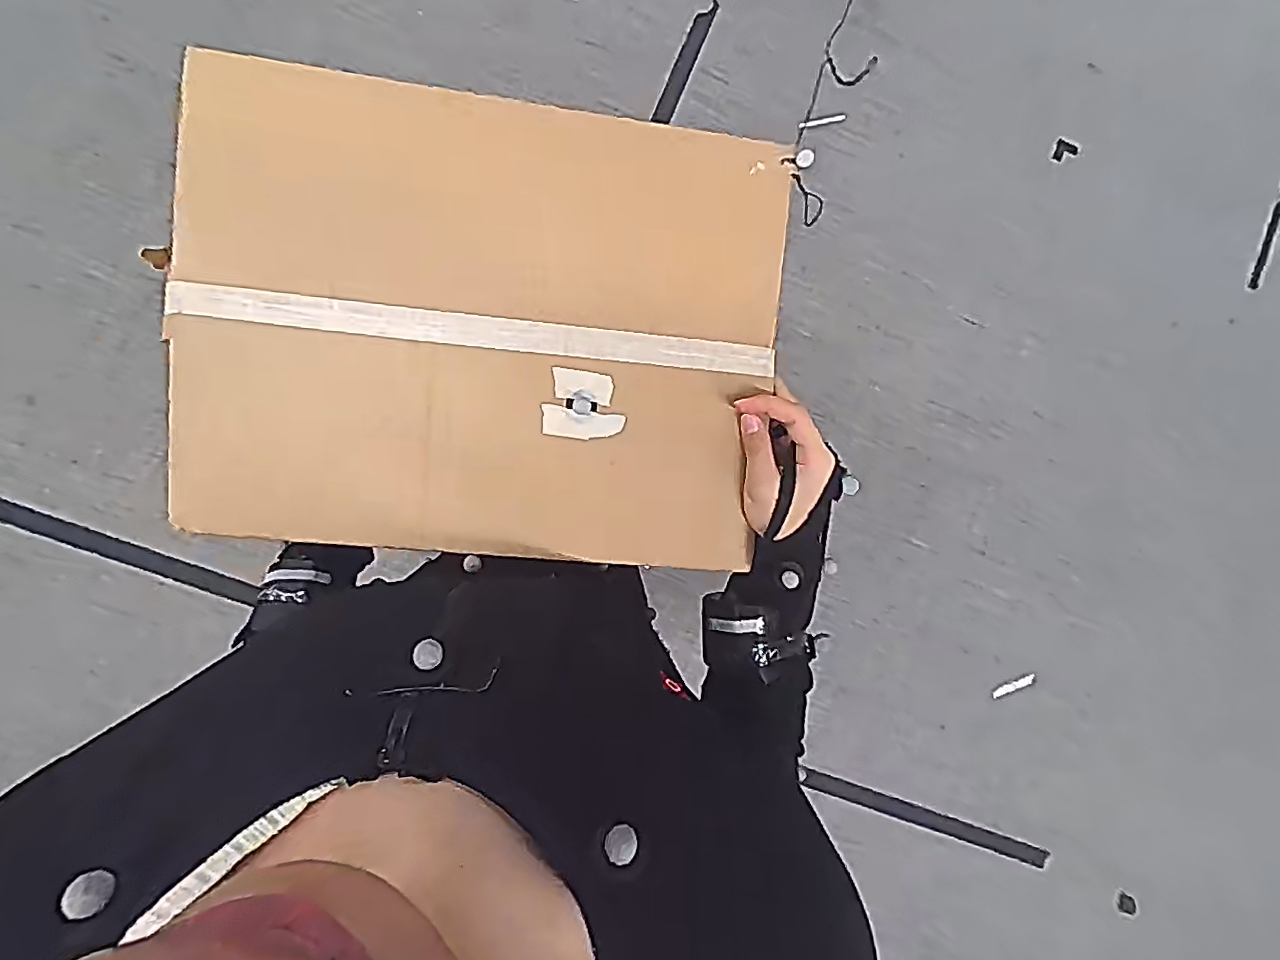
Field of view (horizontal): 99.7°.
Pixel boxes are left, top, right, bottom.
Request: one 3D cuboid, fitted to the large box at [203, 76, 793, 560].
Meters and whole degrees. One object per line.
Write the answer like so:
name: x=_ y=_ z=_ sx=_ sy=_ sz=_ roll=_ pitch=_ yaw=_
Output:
large box: x=-0.112 y=-0.112 z=0.534 sx=0.408 sy=0.320 sz=0.320 roll=5 pitch=94 yaw=-8
